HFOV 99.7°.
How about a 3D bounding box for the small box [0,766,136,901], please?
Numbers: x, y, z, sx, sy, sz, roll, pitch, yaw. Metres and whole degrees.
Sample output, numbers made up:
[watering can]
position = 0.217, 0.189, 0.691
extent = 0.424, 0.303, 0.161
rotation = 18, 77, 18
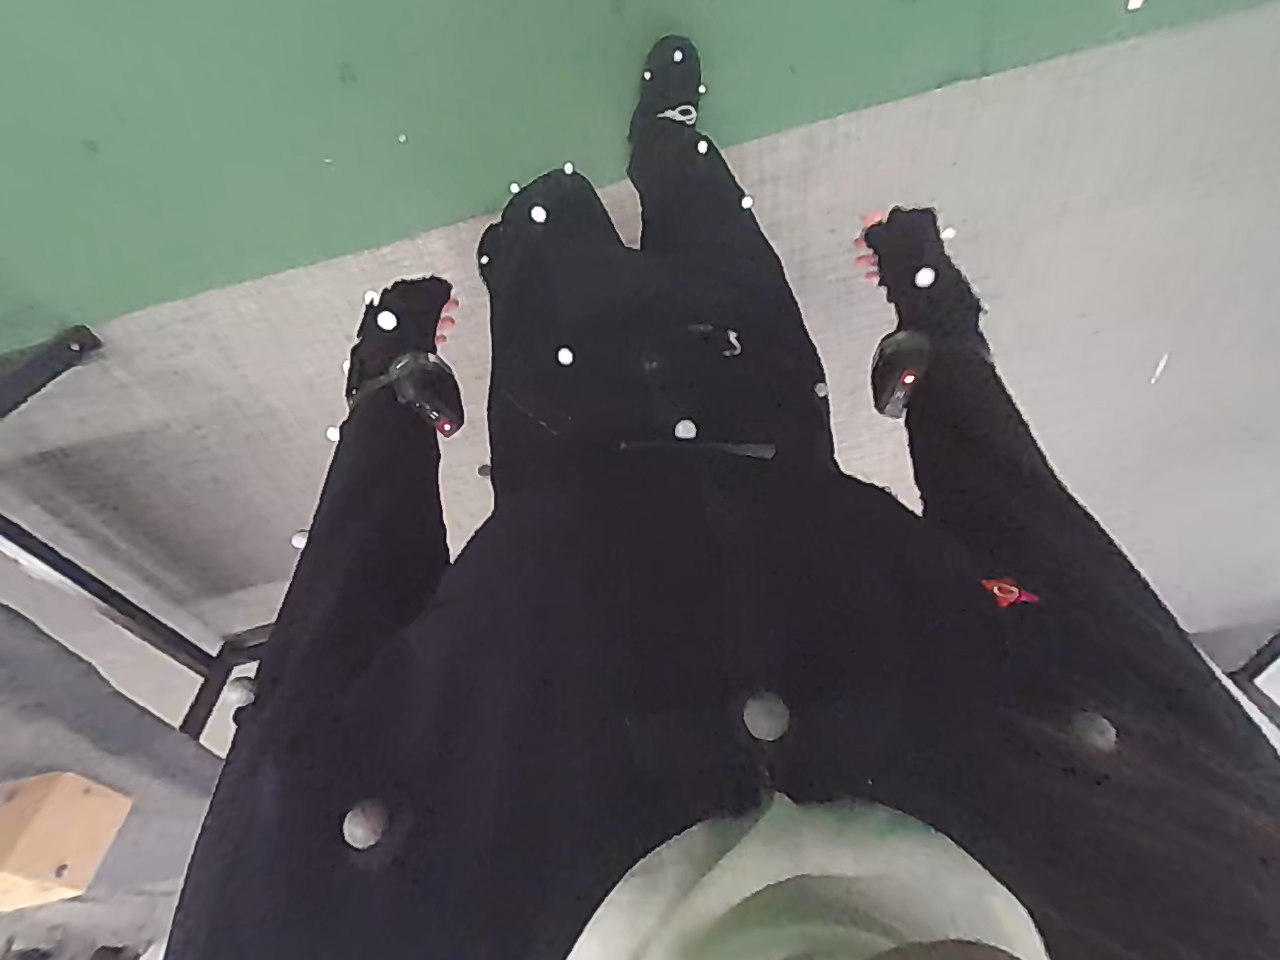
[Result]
[small box]
position = -1.142, 0.672, 1.030
extent = 0.179, 0.176, 0.168
rotation = -12, 132, 4
